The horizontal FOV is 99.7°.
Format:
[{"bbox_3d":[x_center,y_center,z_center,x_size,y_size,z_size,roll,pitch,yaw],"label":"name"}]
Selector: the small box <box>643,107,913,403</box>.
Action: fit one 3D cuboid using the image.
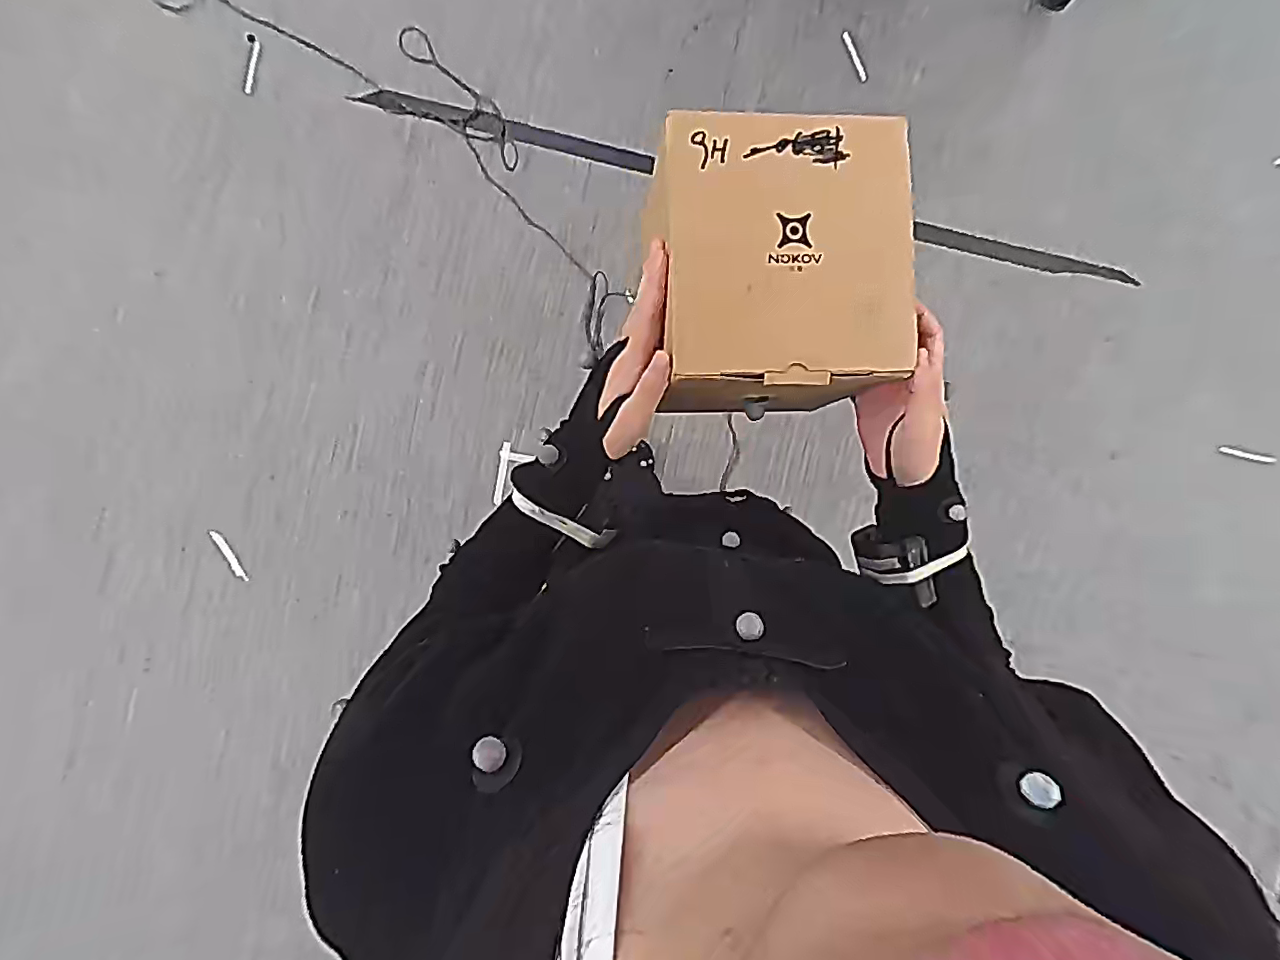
[{"bbox_3d":[0.093,-0.156,0.433,0.168,0.176,0.179,-2,91,-5],"label":"small box"}]
